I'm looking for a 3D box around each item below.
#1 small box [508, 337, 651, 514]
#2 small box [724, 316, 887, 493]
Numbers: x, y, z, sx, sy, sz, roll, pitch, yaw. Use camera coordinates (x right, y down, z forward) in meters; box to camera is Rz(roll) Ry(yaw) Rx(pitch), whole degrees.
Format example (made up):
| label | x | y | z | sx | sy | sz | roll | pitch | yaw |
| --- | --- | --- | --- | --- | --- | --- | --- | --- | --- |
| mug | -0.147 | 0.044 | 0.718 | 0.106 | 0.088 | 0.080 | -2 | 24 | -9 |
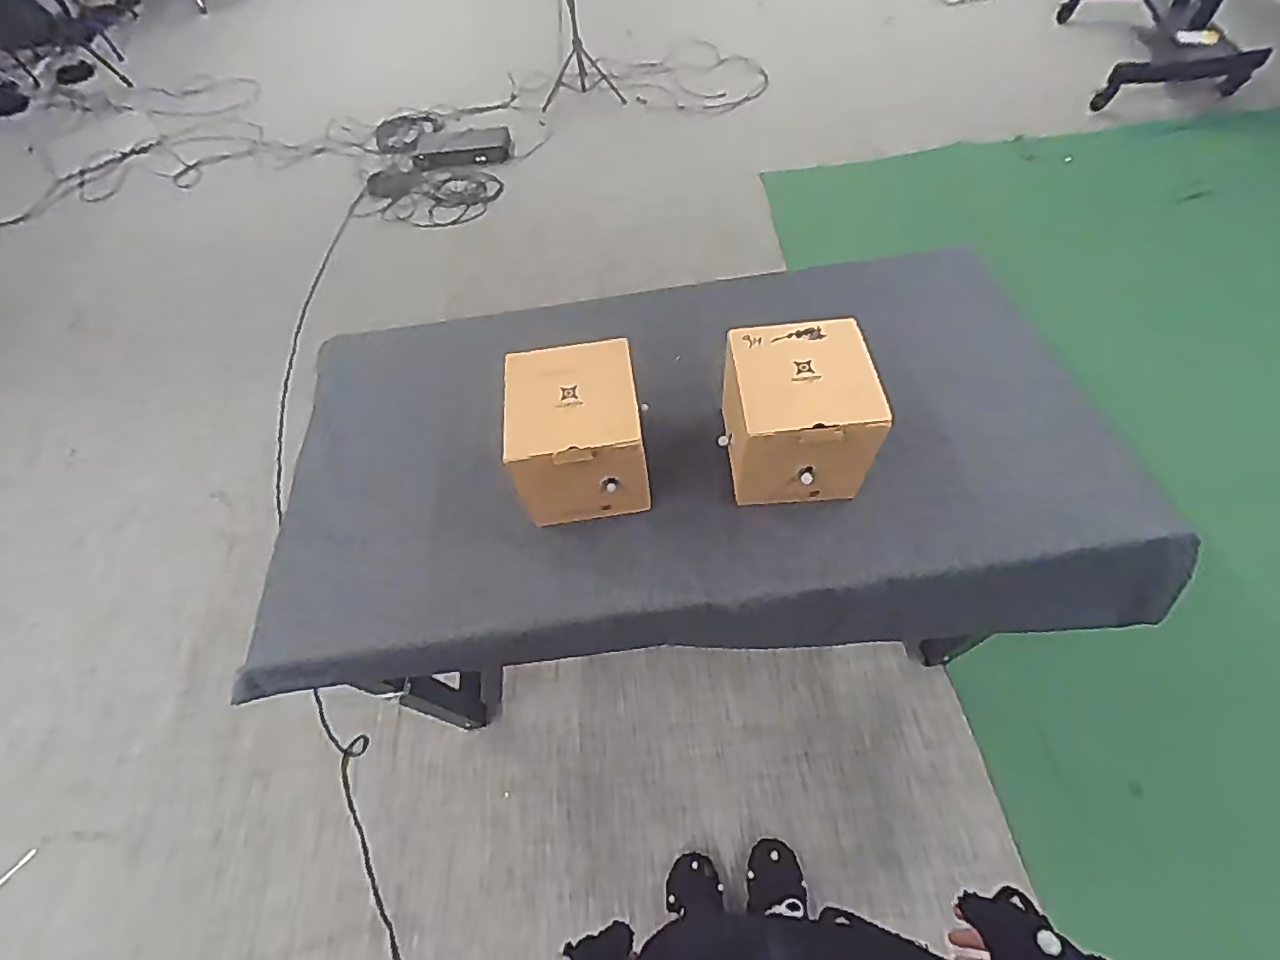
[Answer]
| label | x | y | z | sx | sy | sz | roll | pitch | yaw |
| --- | --- | --- | --- | --- | --- | --- | --- | --- | --- |
| small box | -0.079 | -0.066 | 0.748 | 0.168 | 0.176 | 0.179 | -8 | 57 | -1 |
| small box | 0.208 | -0.093 | 0.734 | 0.168 | 0.176 | 0.179 | -5 | 59 | 2 |
